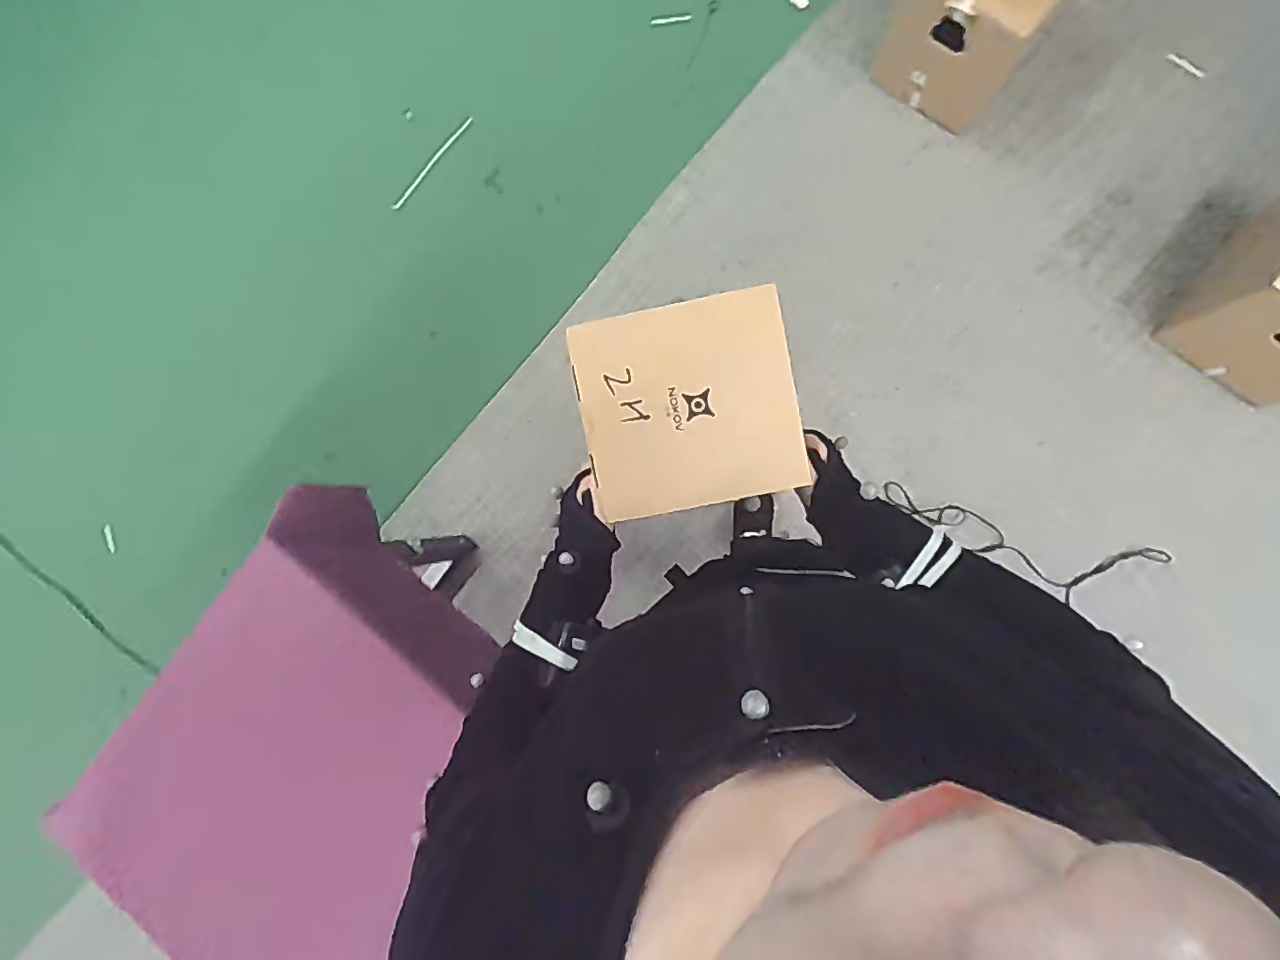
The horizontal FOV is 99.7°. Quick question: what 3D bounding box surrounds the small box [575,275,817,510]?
[{"bbox_3d":[0.050,-0.076,0.519,0.179,0.176,0.168,-11,93,5],"label":"small box"}]
